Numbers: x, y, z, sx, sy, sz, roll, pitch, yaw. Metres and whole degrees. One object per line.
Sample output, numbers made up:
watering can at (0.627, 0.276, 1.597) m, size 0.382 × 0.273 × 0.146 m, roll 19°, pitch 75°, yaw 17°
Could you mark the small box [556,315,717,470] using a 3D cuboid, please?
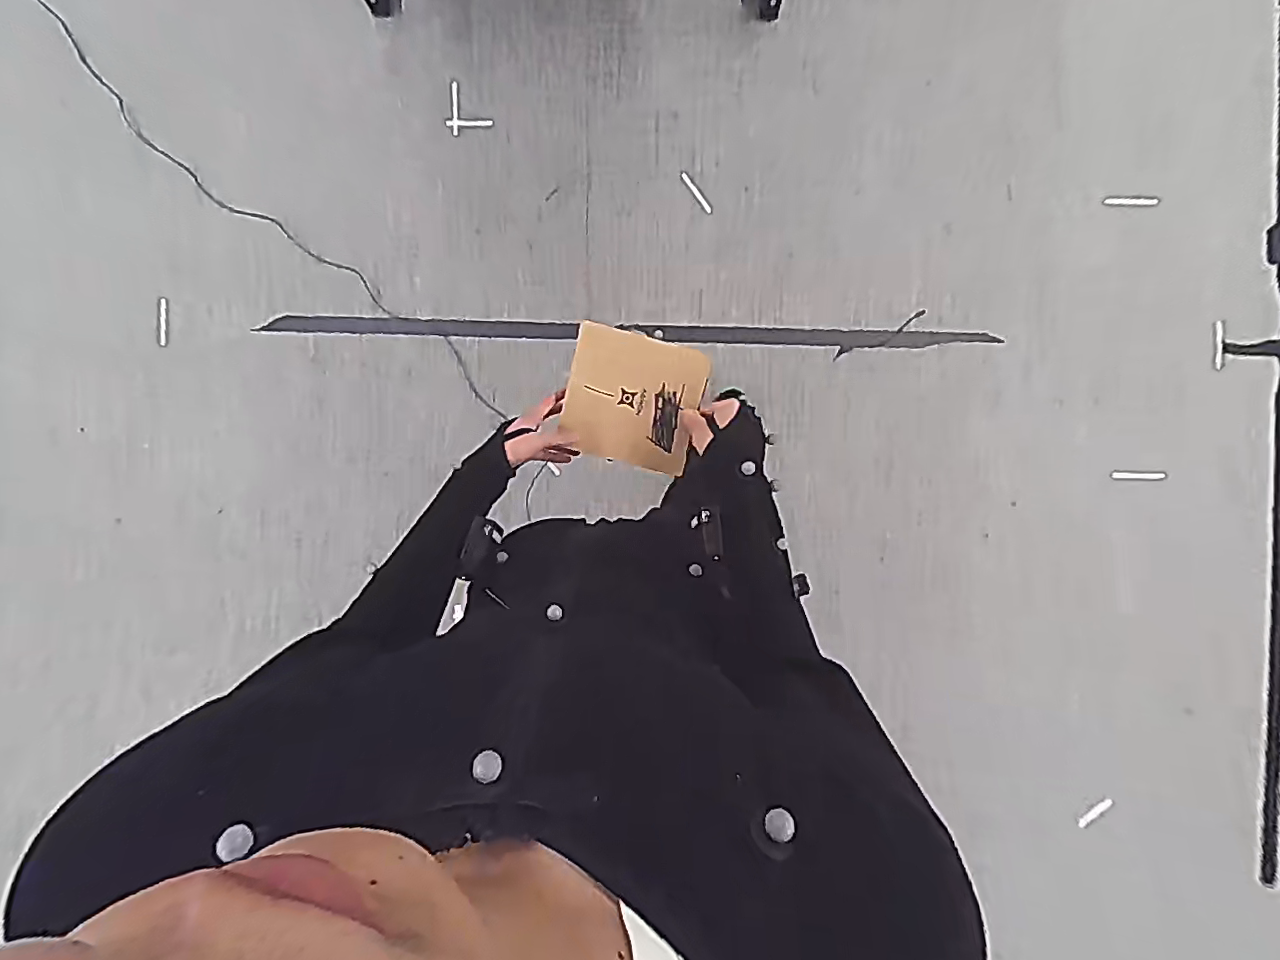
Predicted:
small box at (-0.009, -0.127, 0.769) m, size 0.179 × 0.176 × 0.168 m, roll 14°, pitch 102°, yaw -5°
